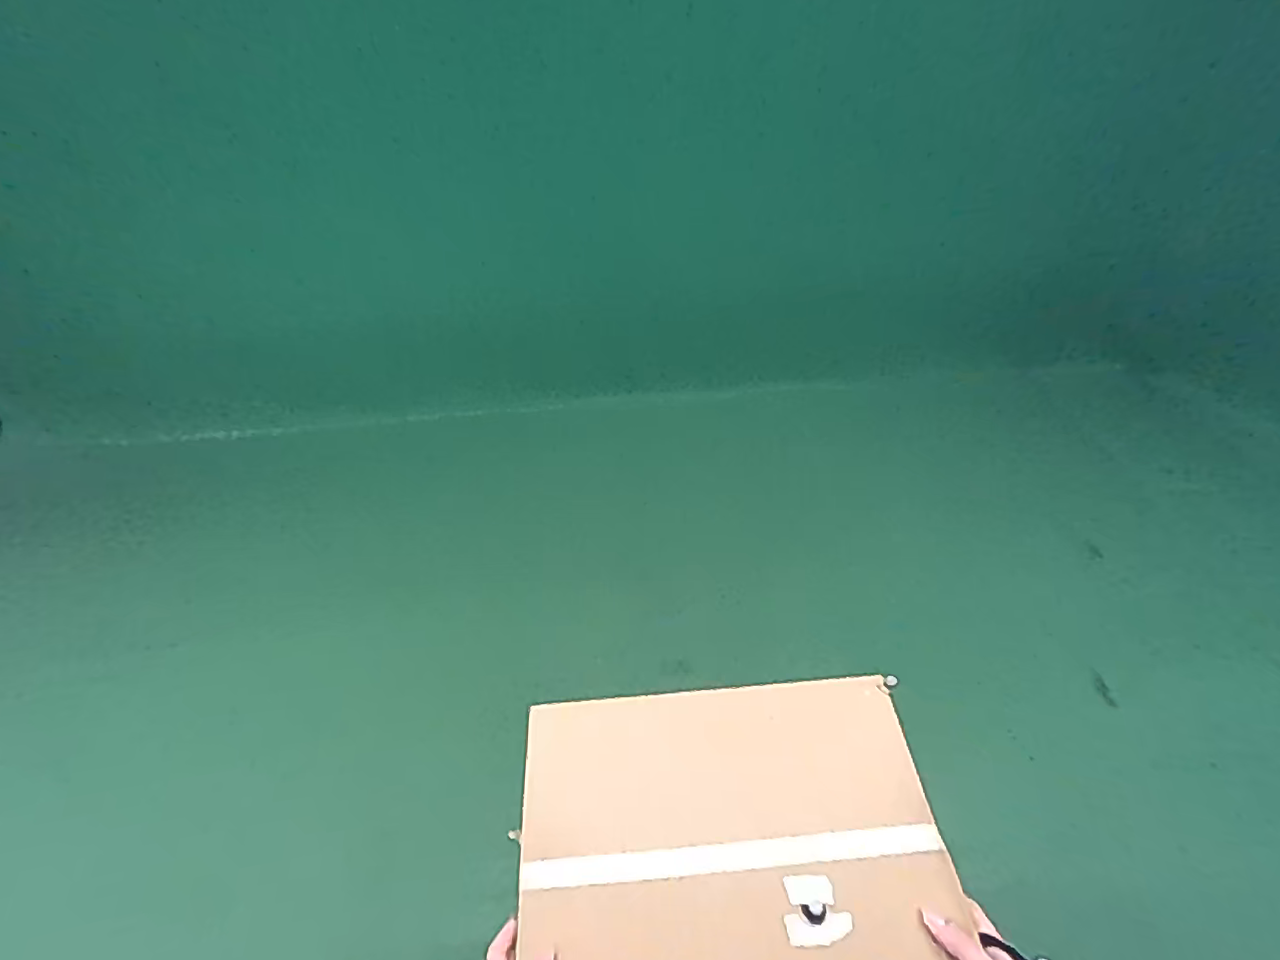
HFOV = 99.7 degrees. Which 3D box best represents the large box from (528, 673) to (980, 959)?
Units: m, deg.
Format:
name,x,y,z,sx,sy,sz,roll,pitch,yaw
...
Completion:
name,x,y,z,sx,sy,sz,roll,pitch,yaw
large box,0.095,0.457,0.642,0.408,0.320,0.320,-5,51,-2
